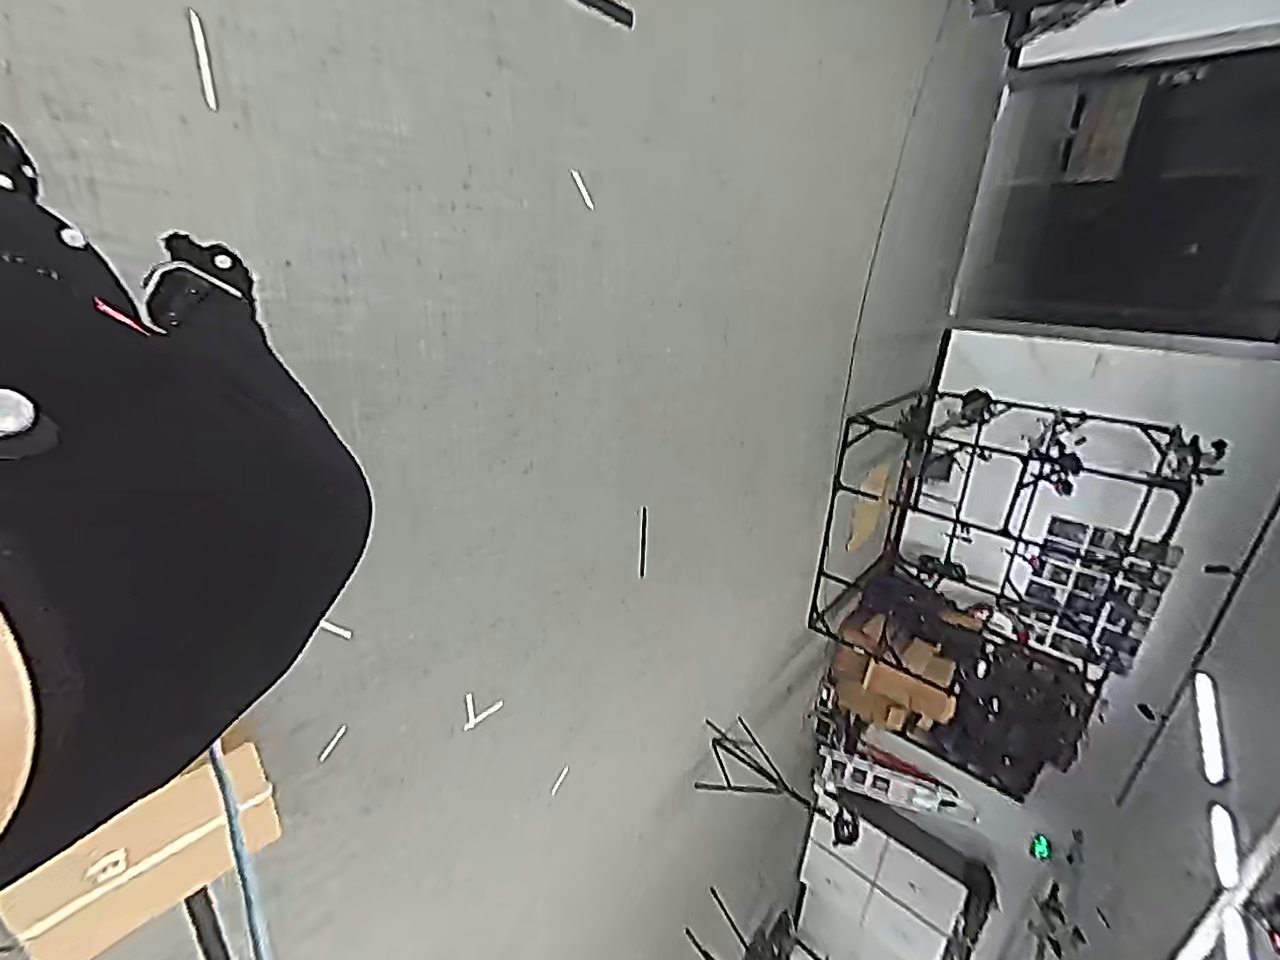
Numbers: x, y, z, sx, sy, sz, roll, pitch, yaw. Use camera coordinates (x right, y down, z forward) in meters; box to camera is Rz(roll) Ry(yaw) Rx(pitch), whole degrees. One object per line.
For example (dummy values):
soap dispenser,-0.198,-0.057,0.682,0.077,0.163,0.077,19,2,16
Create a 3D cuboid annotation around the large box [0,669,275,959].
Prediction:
large box,-1.116,0.705,1.199,0.408,0.320,0.320,-21,122,-45
